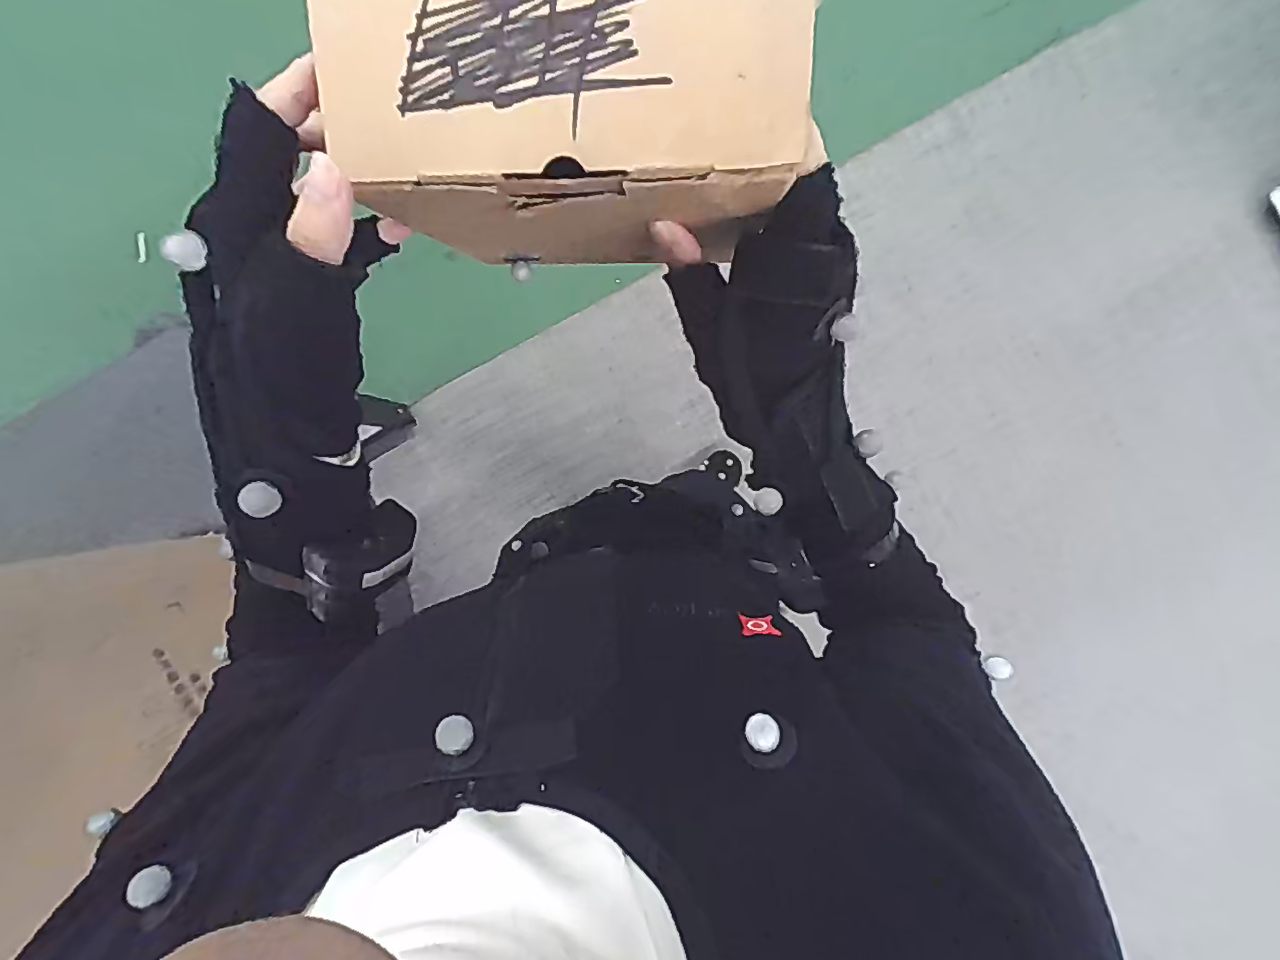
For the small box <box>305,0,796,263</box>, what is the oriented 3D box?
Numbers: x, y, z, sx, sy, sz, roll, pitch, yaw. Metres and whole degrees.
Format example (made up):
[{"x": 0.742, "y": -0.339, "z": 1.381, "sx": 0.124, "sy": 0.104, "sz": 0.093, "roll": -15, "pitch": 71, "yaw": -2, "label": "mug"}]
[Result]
[{"x": -0.024, "y": -0.203, "z": 0.248, "sx": 0.168, "sy": 0.176, "sz": 0.179, "roll": 1, "pitch": 102, "yaw": 4, "label": "small box"}]
